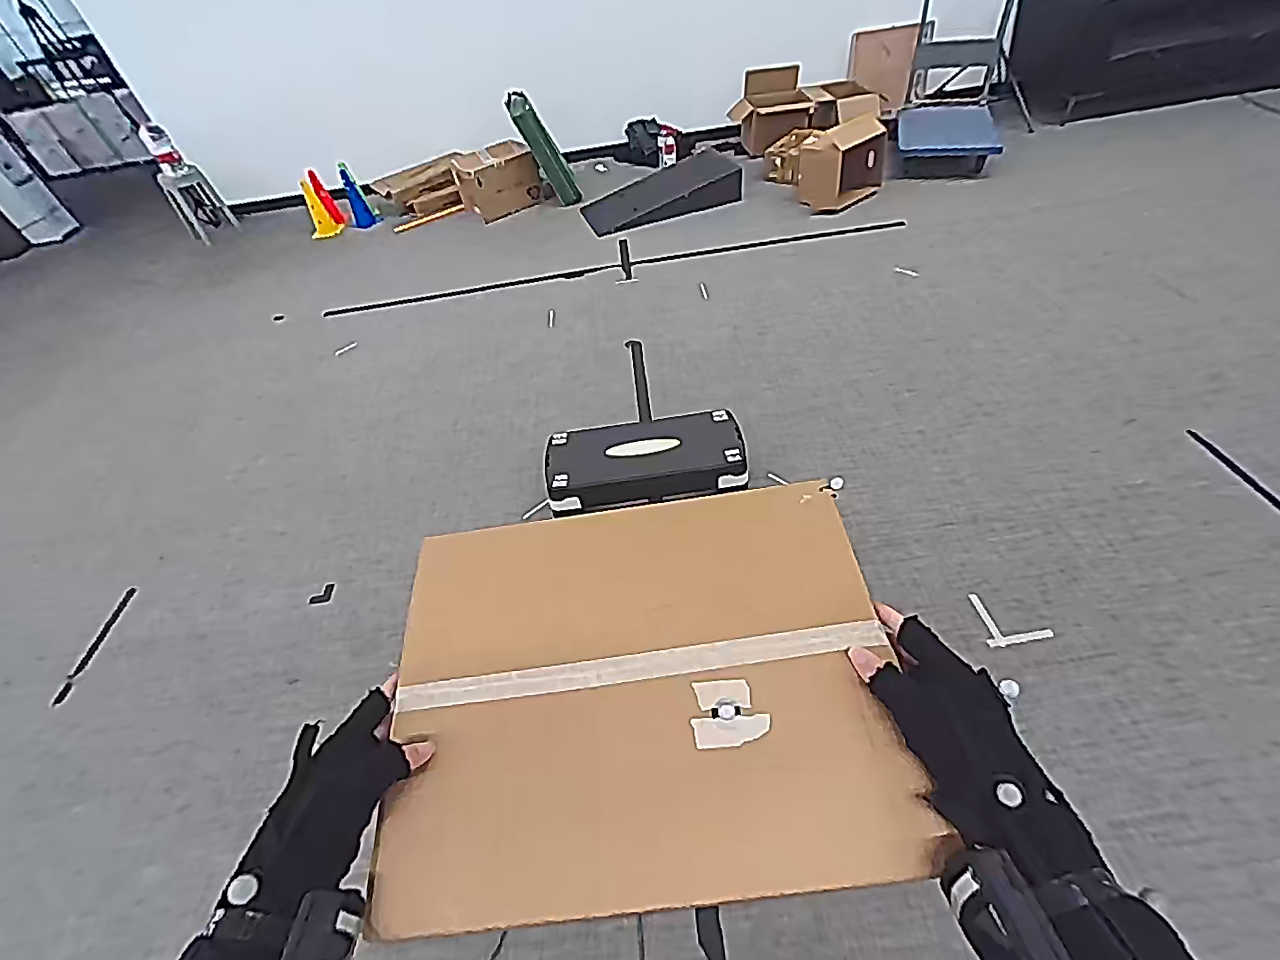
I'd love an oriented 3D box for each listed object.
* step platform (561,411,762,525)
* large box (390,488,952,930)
[{"bbox_3d":[0.070,-0.045,1.880,0.684,0.204,0.286,-8,47,0],"label":"step platform"},{"bbox_3d":[0.019,0.246,0.577,0.408,0.320,0.320,-8,54,2],"label":"large box"}]
